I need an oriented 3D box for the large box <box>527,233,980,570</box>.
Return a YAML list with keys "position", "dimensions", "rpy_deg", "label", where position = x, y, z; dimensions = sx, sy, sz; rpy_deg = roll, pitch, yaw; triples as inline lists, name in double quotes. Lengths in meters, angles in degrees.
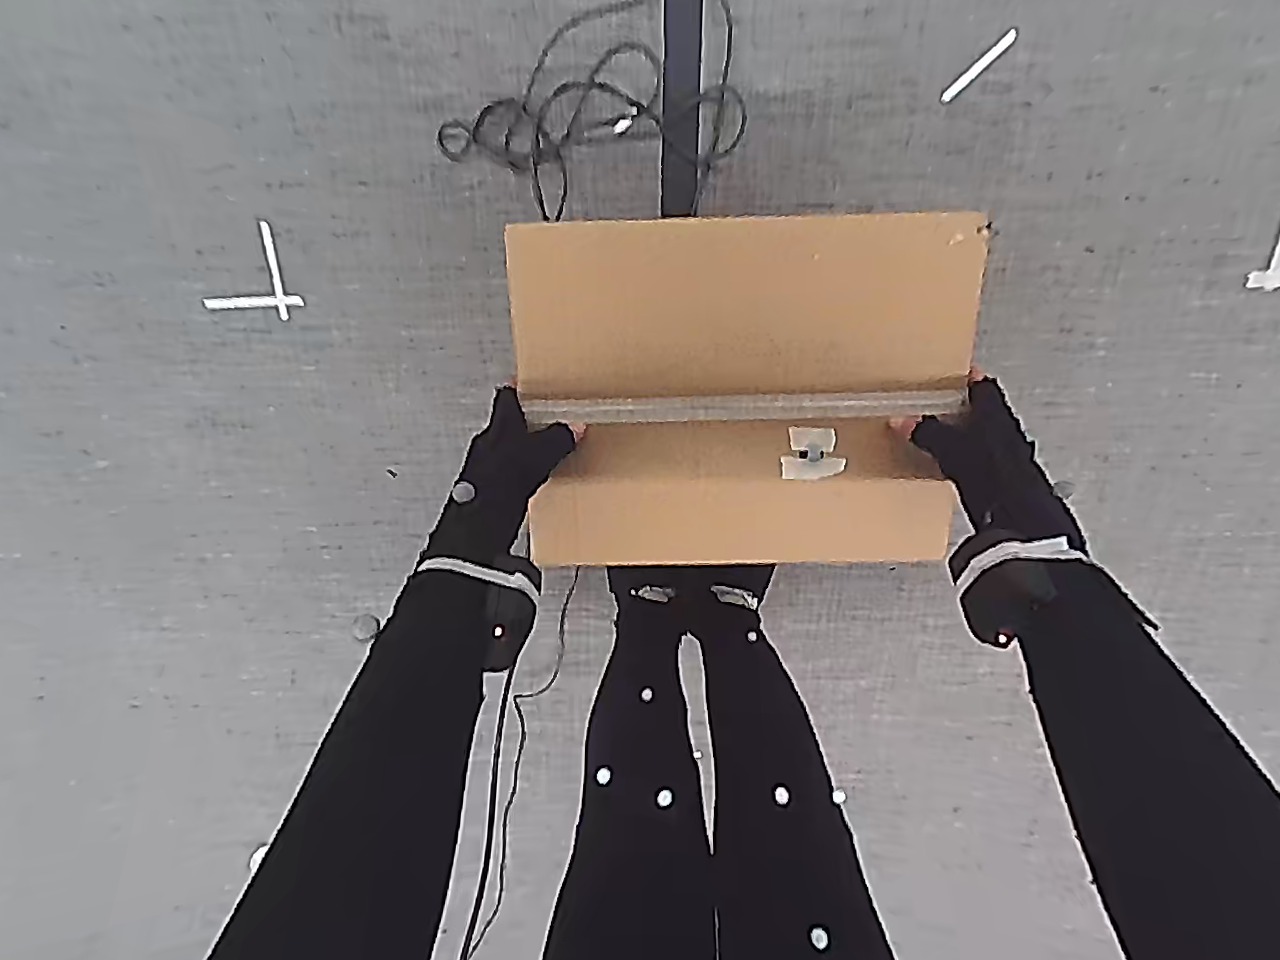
- position: [0.104, -0.100, 0.655]
  dimensions: [0.408, 0.320, 0.320]
  rpy_deg: [-1, 107, 2]
  label: "large box"
